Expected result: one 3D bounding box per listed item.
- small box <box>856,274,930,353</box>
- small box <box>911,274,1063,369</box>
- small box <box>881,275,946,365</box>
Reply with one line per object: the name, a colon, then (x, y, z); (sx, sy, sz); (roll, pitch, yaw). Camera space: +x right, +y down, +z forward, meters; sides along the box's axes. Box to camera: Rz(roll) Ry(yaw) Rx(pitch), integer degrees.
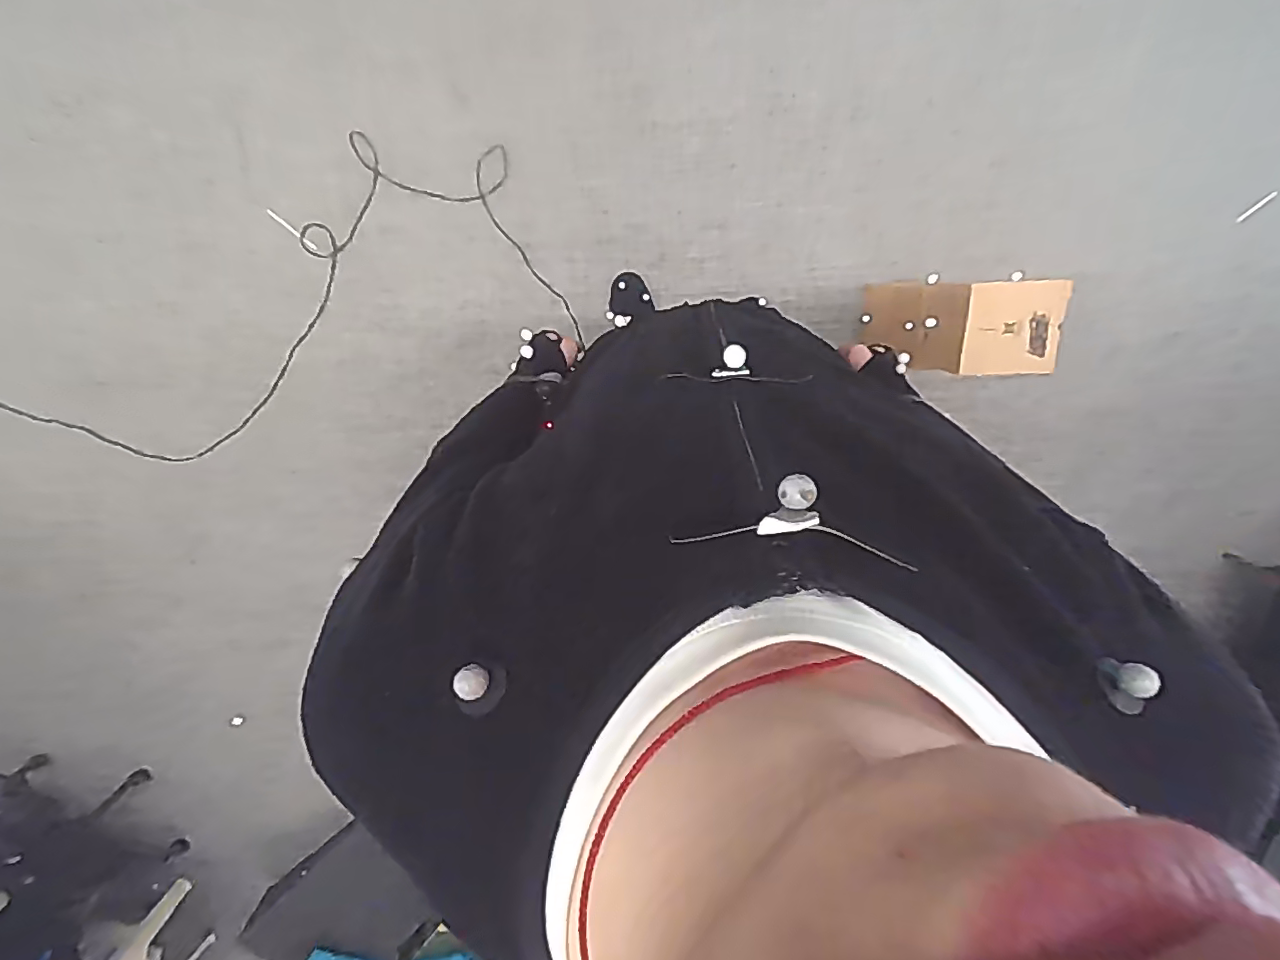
small box: (0.664, -0.425, 1.371); (0.168, 0.176, 0.179); (-2, 112, 1)
small box: (0.668, -0.315, 1.062); (0.179, 0.176, 0.168); (-1, 111, 2)
small box: (0.663, -0.366, 1.220); (0.168, 0.176, 0.179); (-3, 114, 2)
